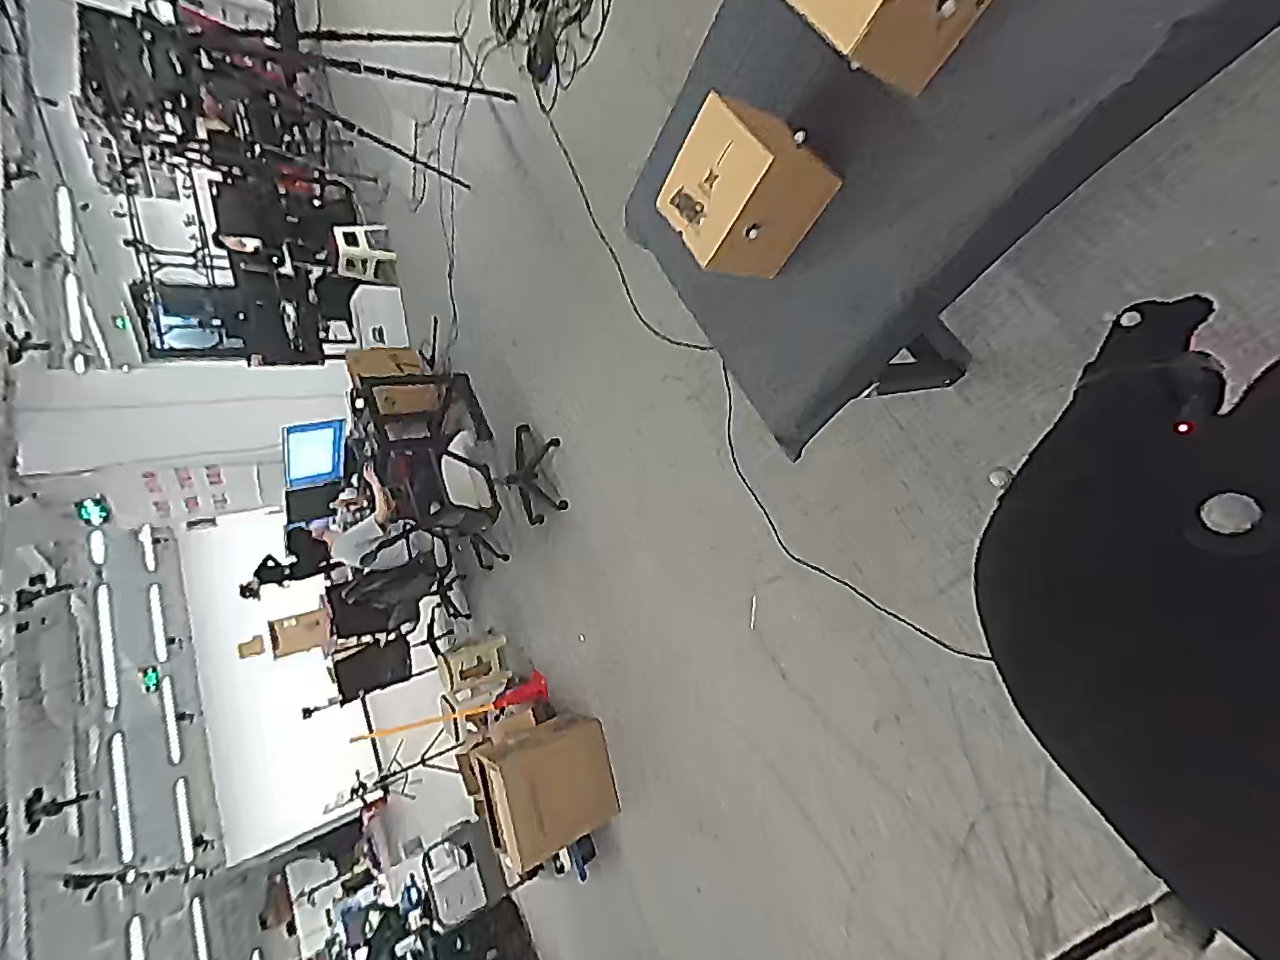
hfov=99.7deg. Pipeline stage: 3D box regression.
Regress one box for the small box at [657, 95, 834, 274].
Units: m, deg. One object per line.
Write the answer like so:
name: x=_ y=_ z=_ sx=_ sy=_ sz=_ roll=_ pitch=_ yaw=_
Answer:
small box: x=0.162 y=-0.446 z=0.845 sx=0.168 sy=0.176 sz=0.179 roll=61 pitch=138 yaw=22

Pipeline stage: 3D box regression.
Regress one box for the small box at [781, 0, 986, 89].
small box: x=0.296 y=-0.600 z=0.635 sx=0.168 sy=0.176 sz=0.179 roll=-50 pitch=60 yaw=46
